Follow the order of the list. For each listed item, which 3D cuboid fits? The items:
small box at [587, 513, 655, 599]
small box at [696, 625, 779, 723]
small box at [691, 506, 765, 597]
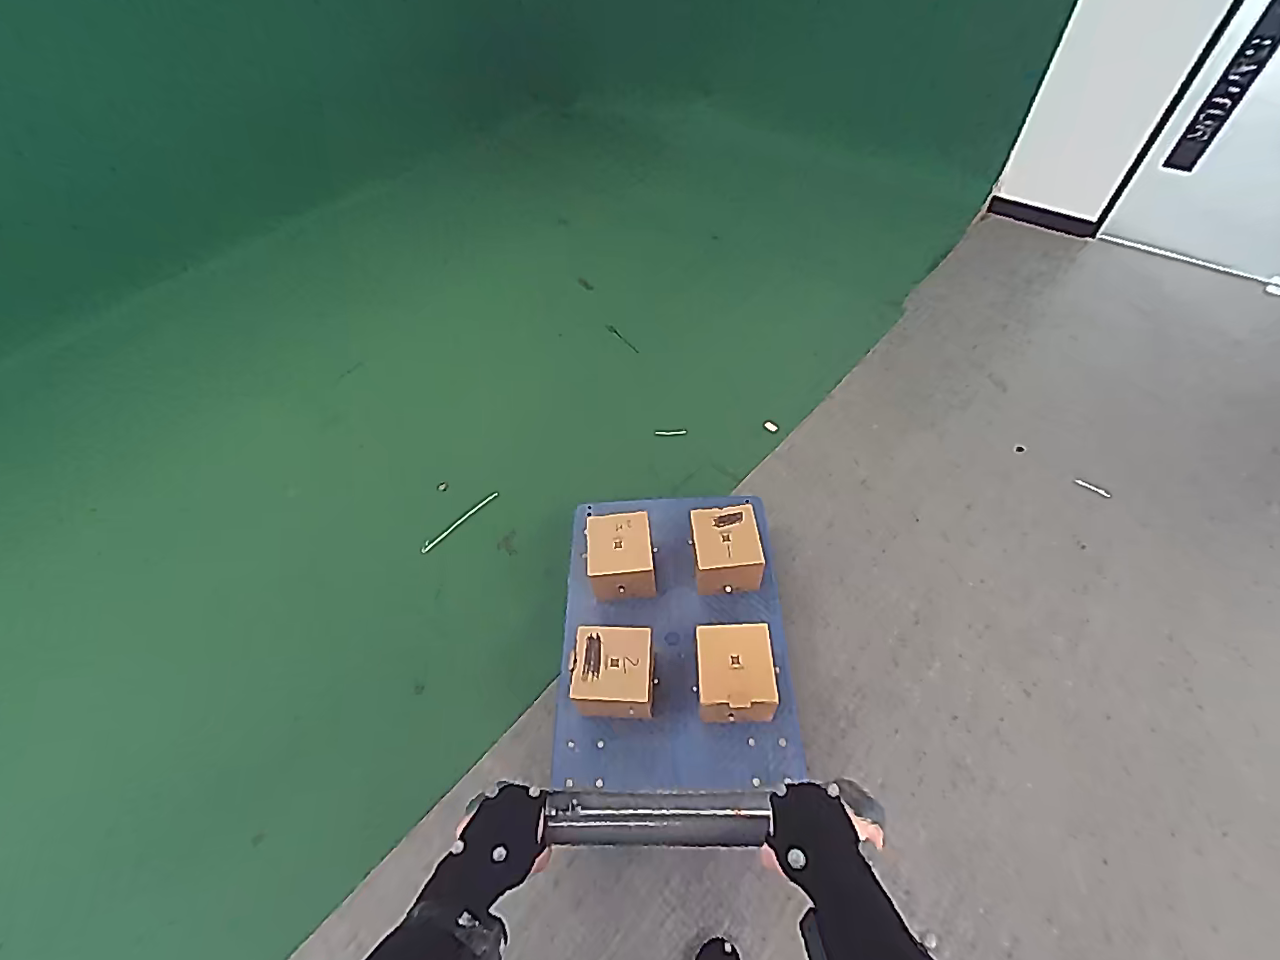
[{"bbox_3d":[-0.048,0.209,1.450,0.168,0.176,0.179,-5,55,1],"label":"small box"},{"bbox_3d":[0.218,0.452,1.255,0.168,0.176,0.179,-3,55,3],"label":"small box"},{"bbox_3d":[0.227,0.192,1.438,0.168,0.176,0.179,-6,55,2],"label":"small box"}]
